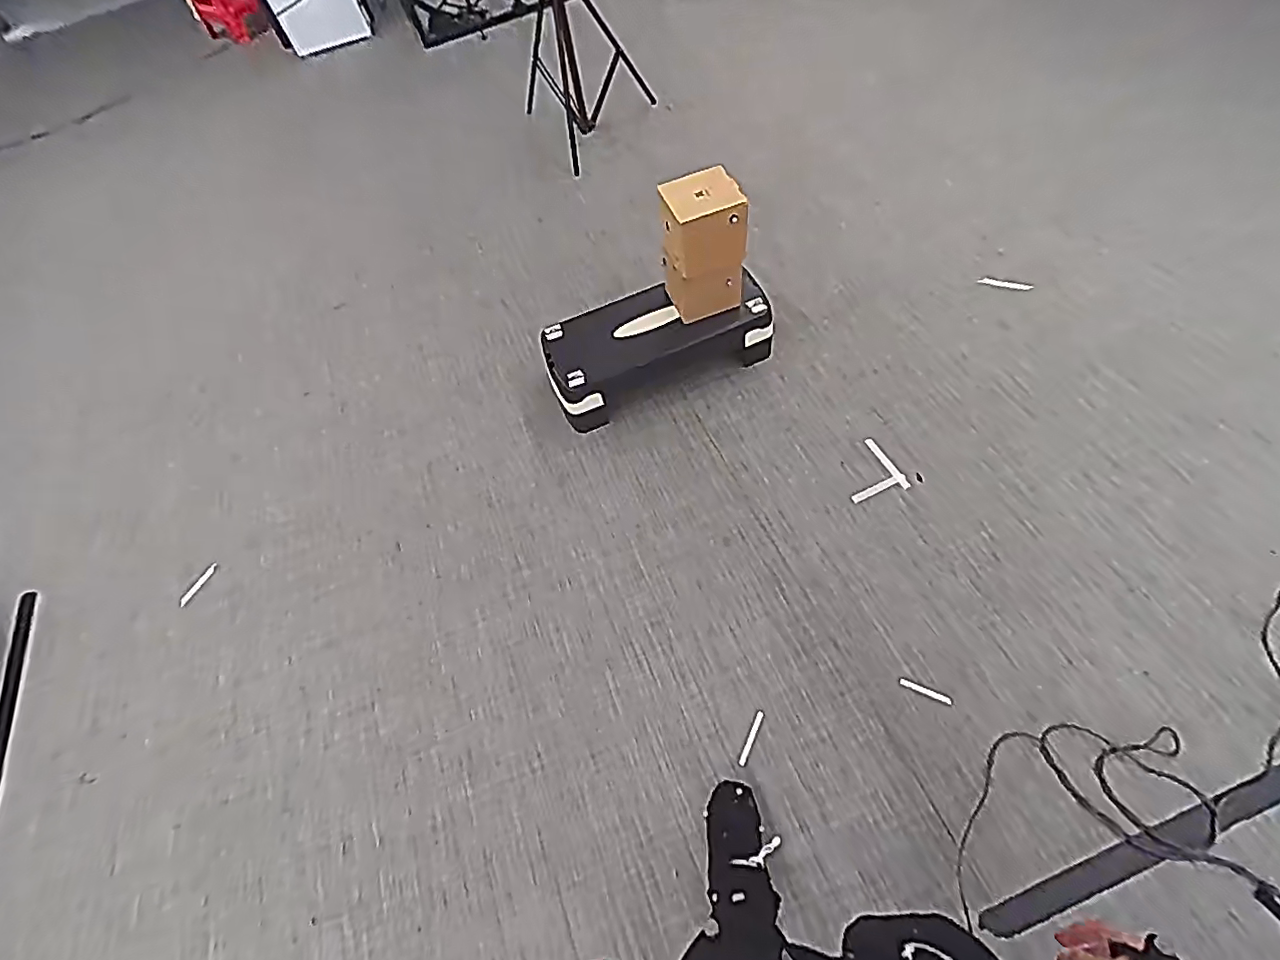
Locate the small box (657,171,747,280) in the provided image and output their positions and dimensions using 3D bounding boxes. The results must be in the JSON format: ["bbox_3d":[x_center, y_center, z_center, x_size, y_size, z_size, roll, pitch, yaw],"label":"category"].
[{"bbox_3d":[0.159,-0.644,1.380,0.179,0.176,0.168,-20,60,-4],"label":"small box"}]

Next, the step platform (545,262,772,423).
[{"bbox_3d":[0.055,-0.439,1.669,0.684,0.204,0.286,-23,60,-4],"label":"step platform"}]
